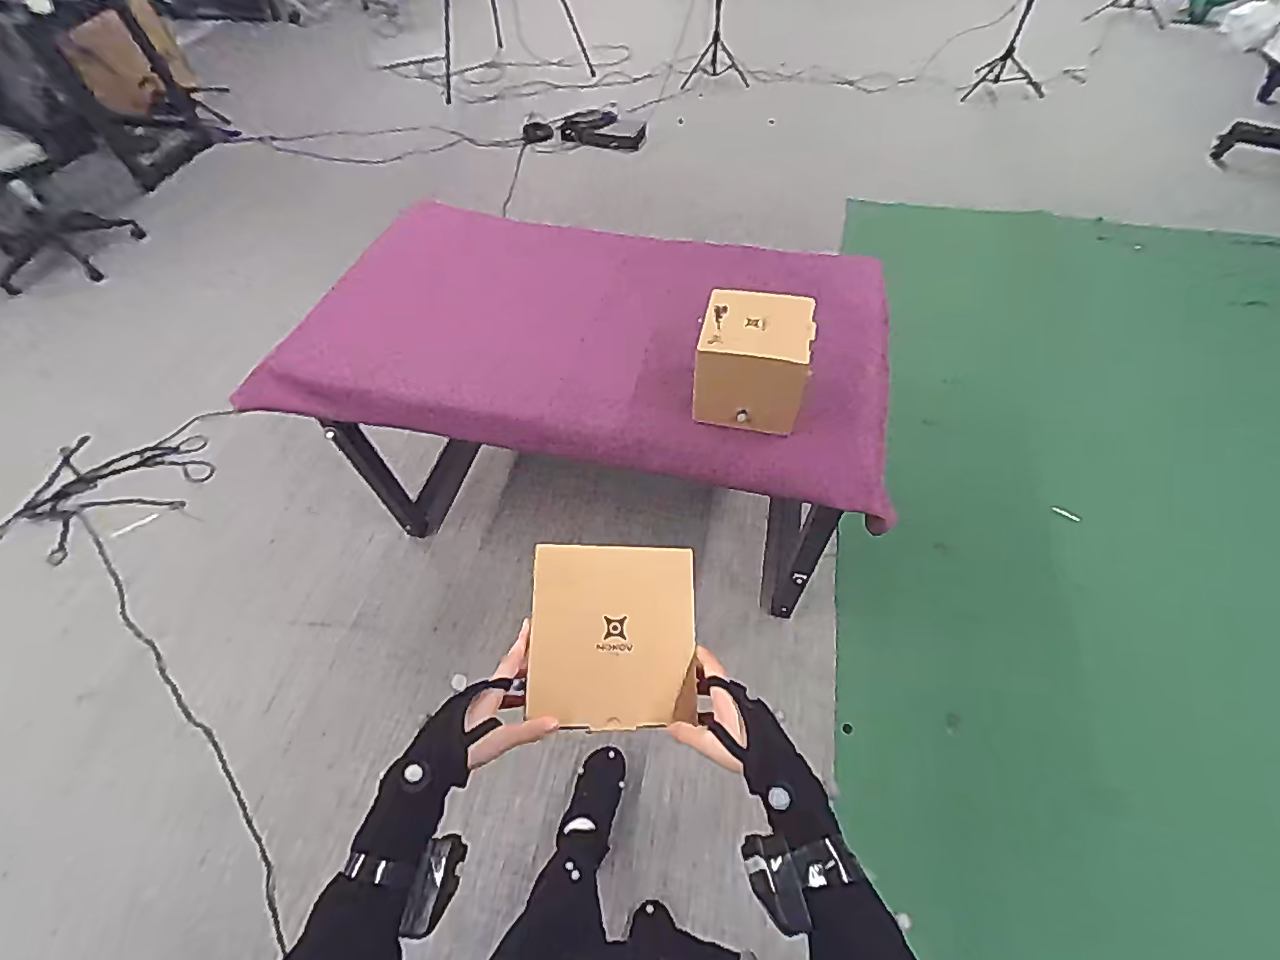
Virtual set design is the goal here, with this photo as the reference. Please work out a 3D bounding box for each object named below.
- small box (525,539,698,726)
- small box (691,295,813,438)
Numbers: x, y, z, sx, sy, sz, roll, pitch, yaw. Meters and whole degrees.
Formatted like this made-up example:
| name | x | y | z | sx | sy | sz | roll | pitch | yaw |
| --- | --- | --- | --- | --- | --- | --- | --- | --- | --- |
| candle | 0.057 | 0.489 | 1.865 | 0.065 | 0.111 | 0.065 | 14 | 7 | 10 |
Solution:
| name | x | y | z | sx | sy | sz | roll | pitch | yaw |
| --- | --- | --- | --- | --- | --- | --- | --- | --- | --- |
| small box | -0.038 | 0.173 | 0.604 | 0.168 | 0.176 | 0.179 | 3 | 70 | -9 |
| small box | 0.191 | -0.194 | 0.942 | 0.179 | 0.176 | 0.168 | 10 | 53 | 10 |
